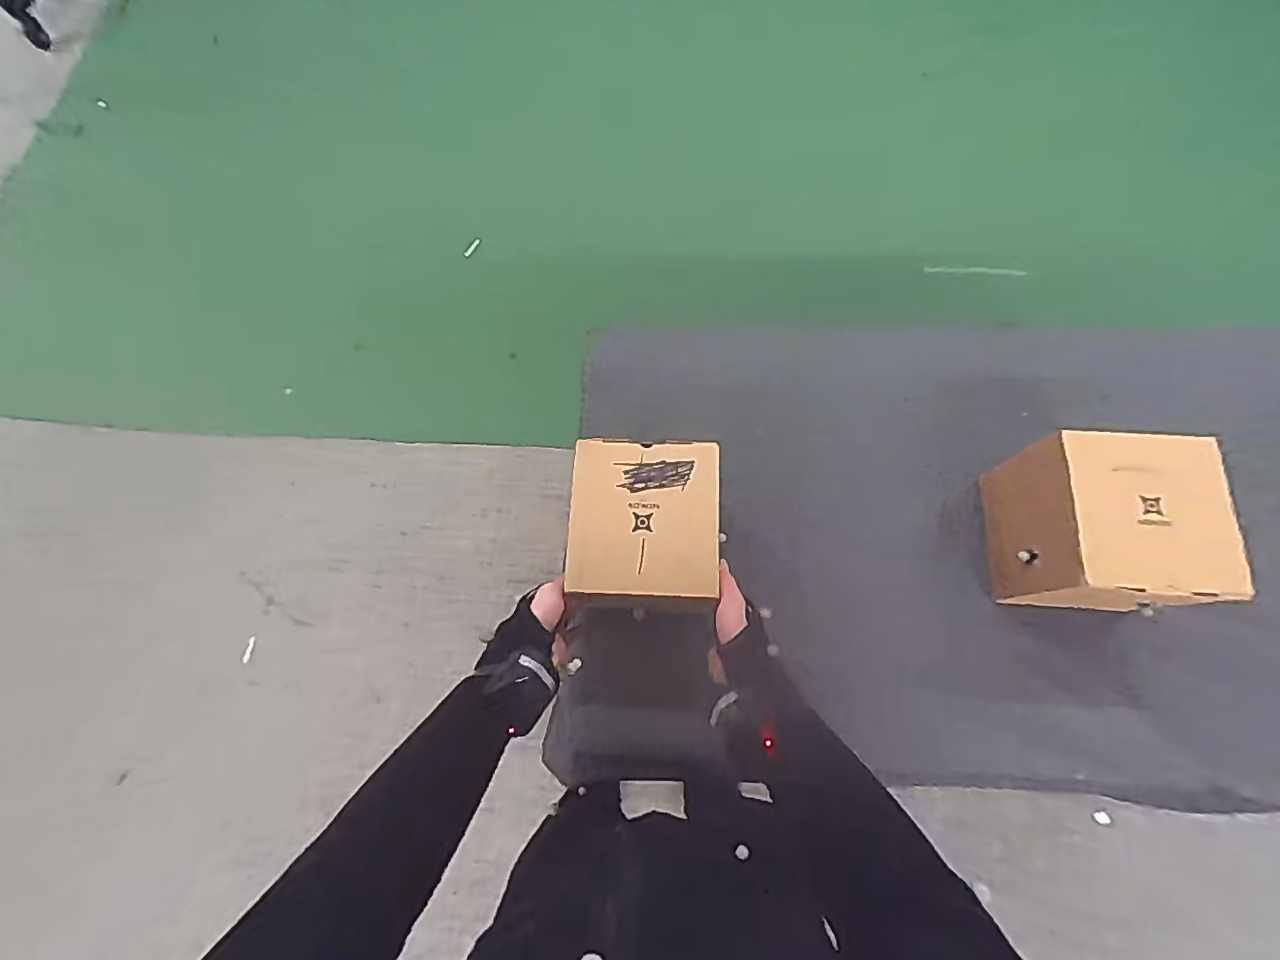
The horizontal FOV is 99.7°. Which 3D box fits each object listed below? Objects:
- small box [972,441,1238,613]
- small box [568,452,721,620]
[{"bbox_3d":[0.541,0.066,0.661,0.168,0.176,0.179,3,72,2],"label":"small box"},{"bbox_3d":[0.009,0.076,0.674,0.168,0.176,0.179,1,73,2],"label":"small box"}]
